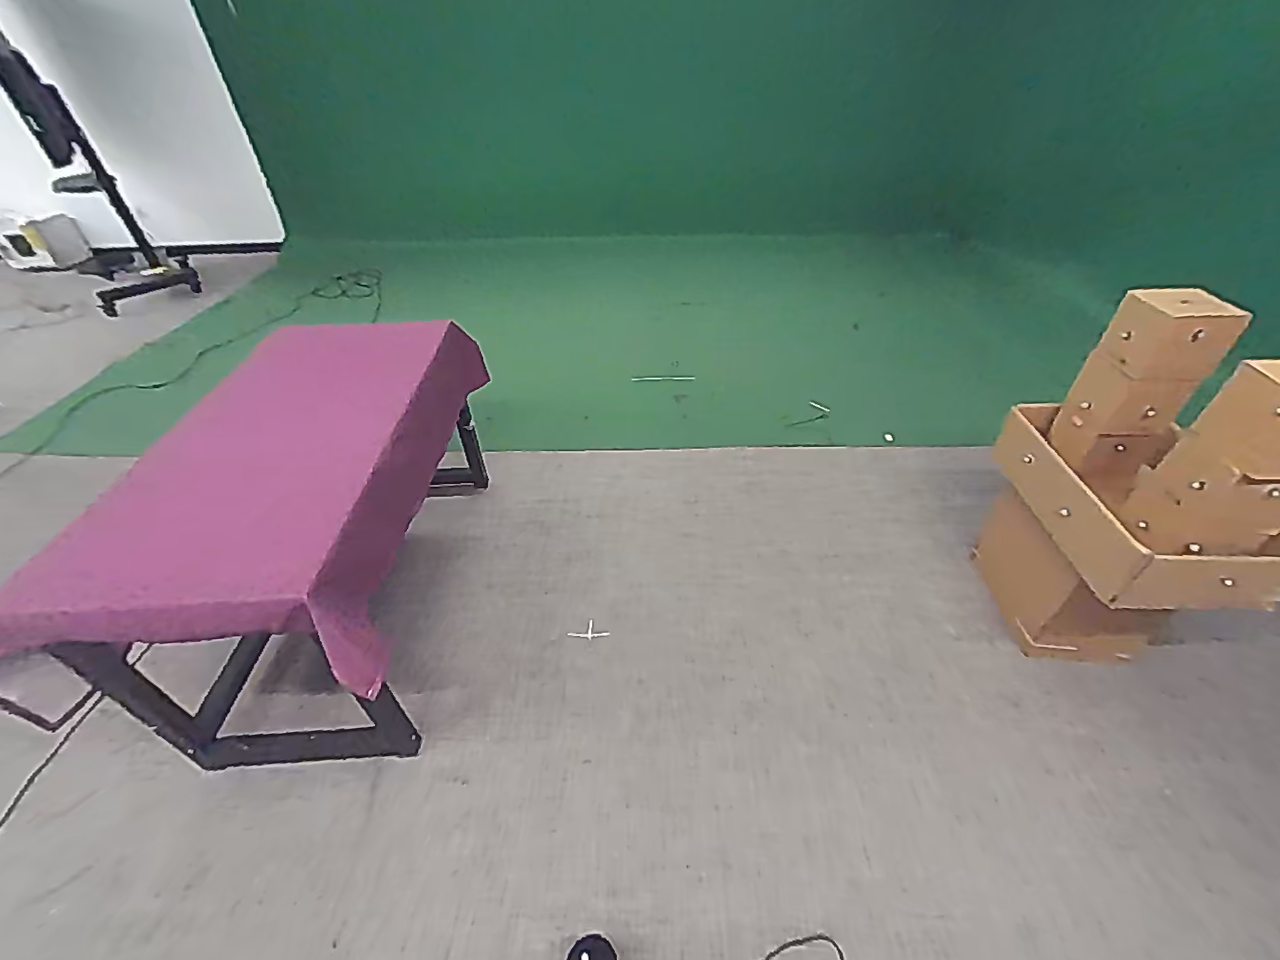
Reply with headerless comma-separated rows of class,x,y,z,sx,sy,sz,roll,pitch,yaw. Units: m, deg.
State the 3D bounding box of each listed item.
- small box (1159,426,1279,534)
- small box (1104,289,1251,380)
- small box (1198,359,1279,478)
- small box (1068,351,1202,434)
small box,1.287,0.001,1.166,0.179,0.176,0.168,4,42,7
small box,1.306,-0.358,1.339,0.179,0.176,0.168,0,40,3
small box,1.278,-0.121,1.059,0.168,0.176,0.179,0,42,4
small box,1.310,-0.234,1.448,0.168,0.176,0.179,-1,40,2
